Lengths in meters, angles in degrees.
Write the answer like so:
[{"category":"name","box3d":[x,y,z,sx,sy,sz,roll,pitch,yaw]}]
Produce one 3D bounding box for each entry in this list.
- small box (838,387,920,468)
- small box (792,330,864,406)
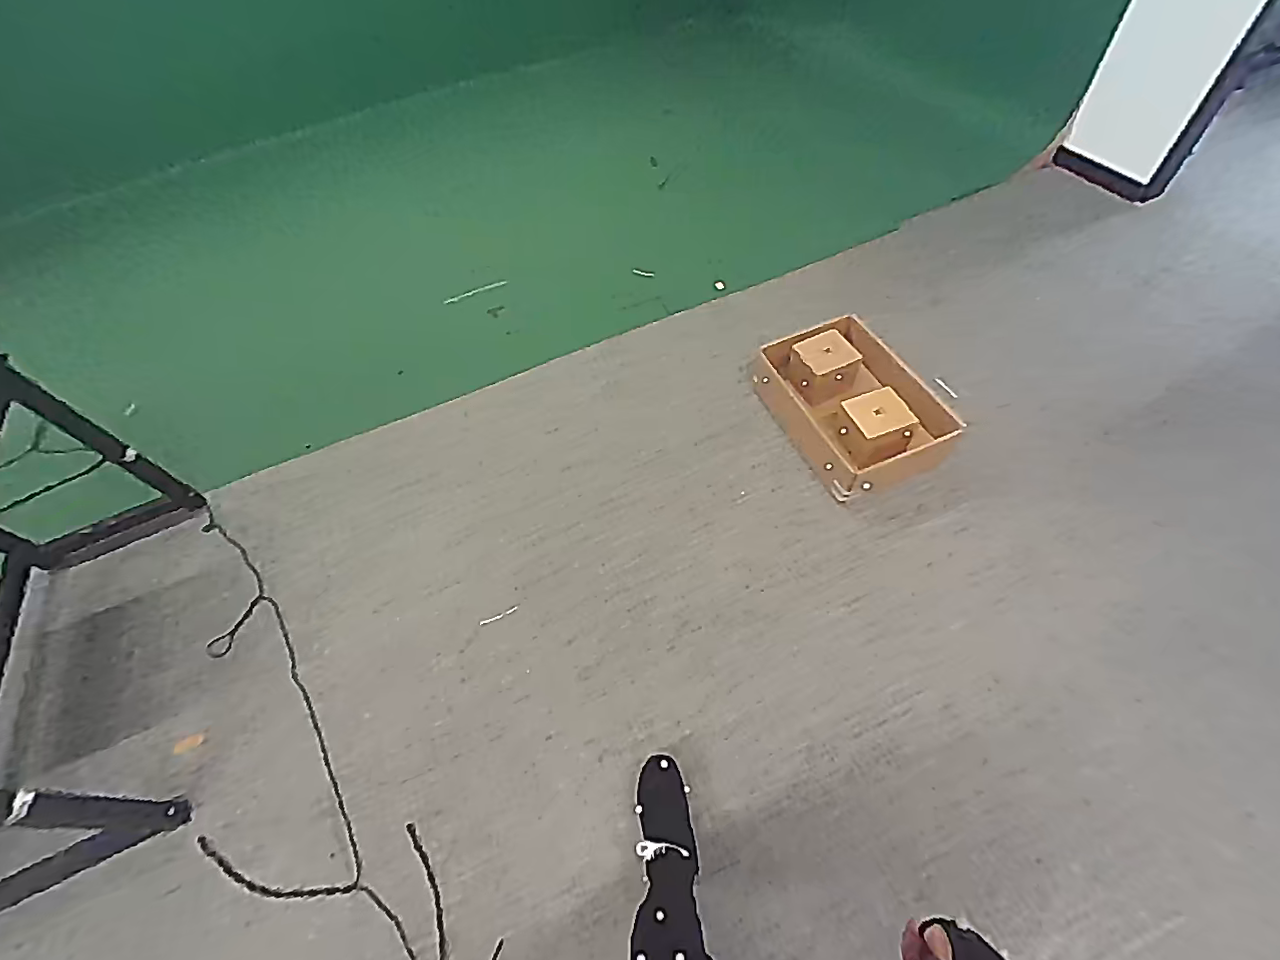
[{"category":"small box","box3d":[0.759,-0.163,1.743,0.179,0.176,0.168,-19,55,-5]},{"category":"small box","box3d":[0.655,-0.390,1.910,0.179,0.176,0.168,-22,57,-7]}]
